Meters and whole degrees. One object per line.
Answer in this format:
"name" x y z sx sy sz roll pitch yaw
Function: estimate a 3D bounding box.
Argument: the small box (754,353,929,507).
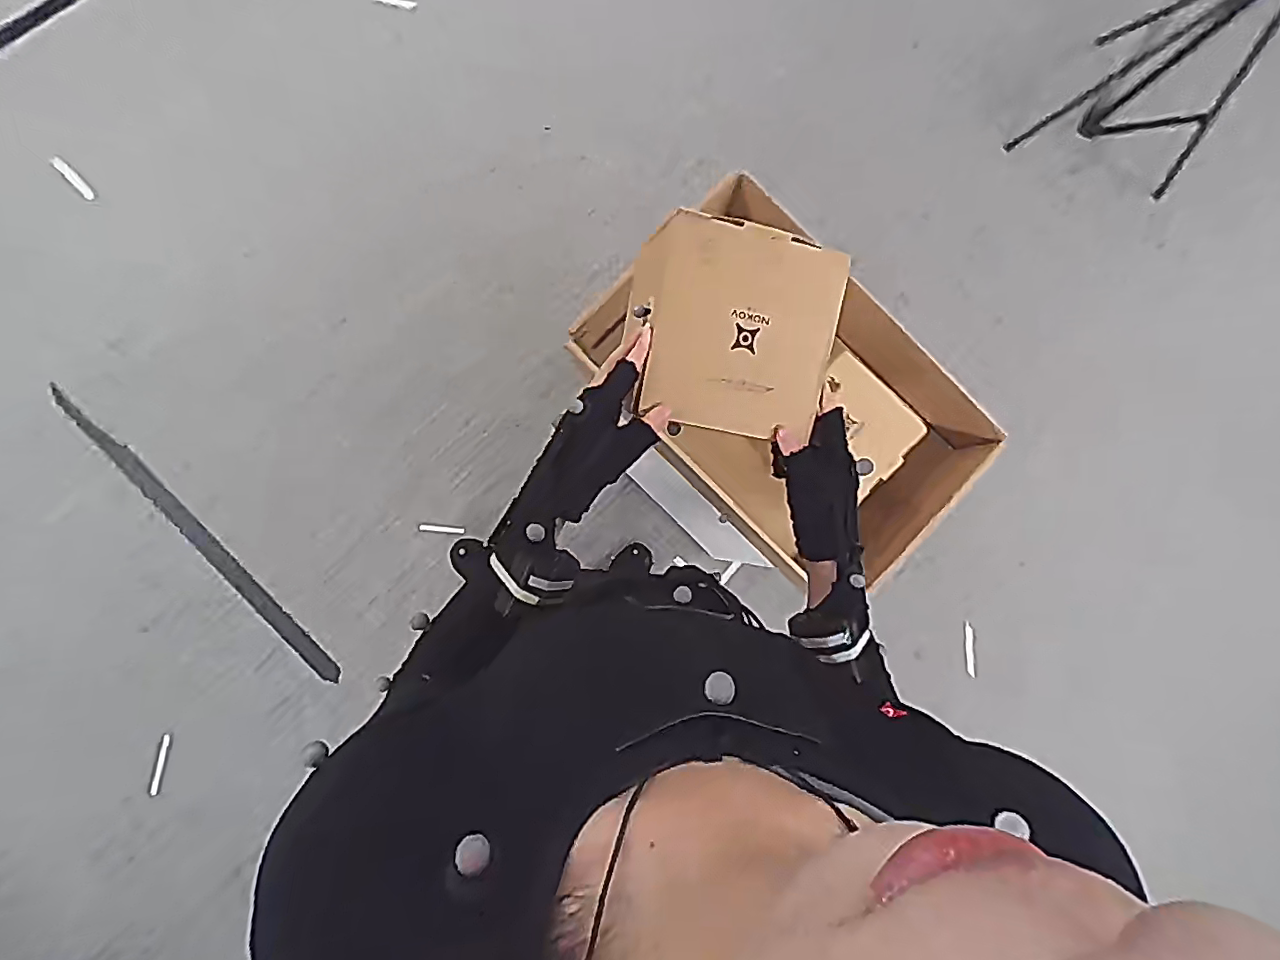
"small box" 0.317 -0.074 0.887 0.179 0.176 0.168 45 85 1

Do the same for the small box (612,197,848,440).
"small box" 0.073 -0.147 0.542 0.168 0.176 0.179 9 99 -13
